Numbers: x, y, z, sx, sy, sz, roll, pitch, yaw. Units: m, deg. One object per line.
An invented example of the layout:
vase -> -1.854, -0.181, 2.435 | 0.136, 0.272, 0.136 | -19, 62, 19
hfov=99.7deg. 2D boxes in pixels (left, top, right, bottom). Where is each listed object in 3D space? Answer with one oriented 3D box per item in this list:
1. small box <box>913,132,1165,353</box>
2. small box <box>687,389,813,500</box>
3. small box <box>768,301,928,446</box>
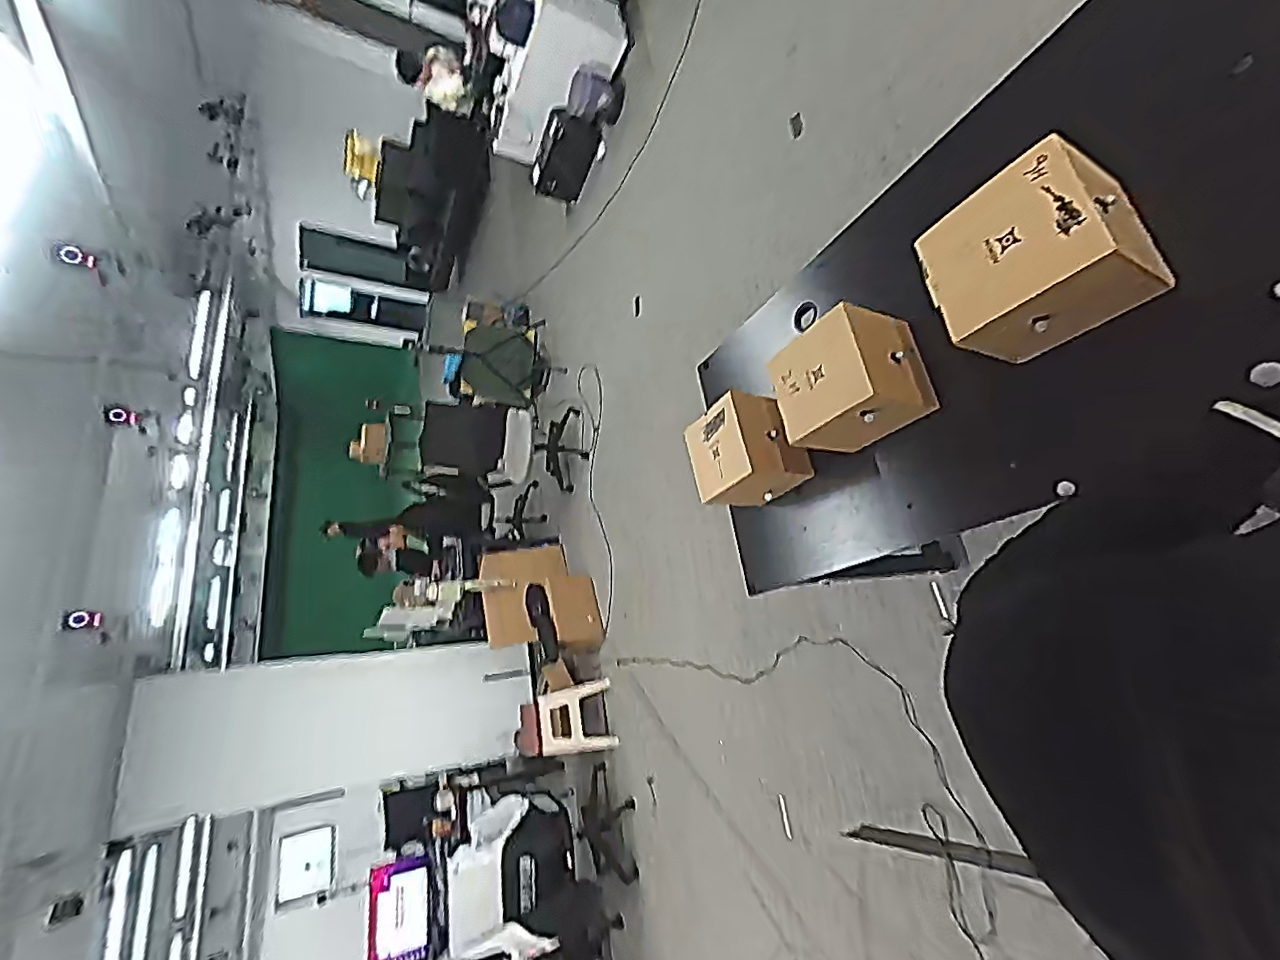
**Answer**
small box -> 0.493, -0.279, 0.682 | 0.179, 0.176, 0.168 | -36, 57, 54
small box -> 0.225, -0.066, 1.124 | 0.168, 0.176, 0.179 | -41, 55, 51
small box -> 0.352, -0.169, 0.913 | 0.179, 0.176, 0.168 | -39, 55, 52
